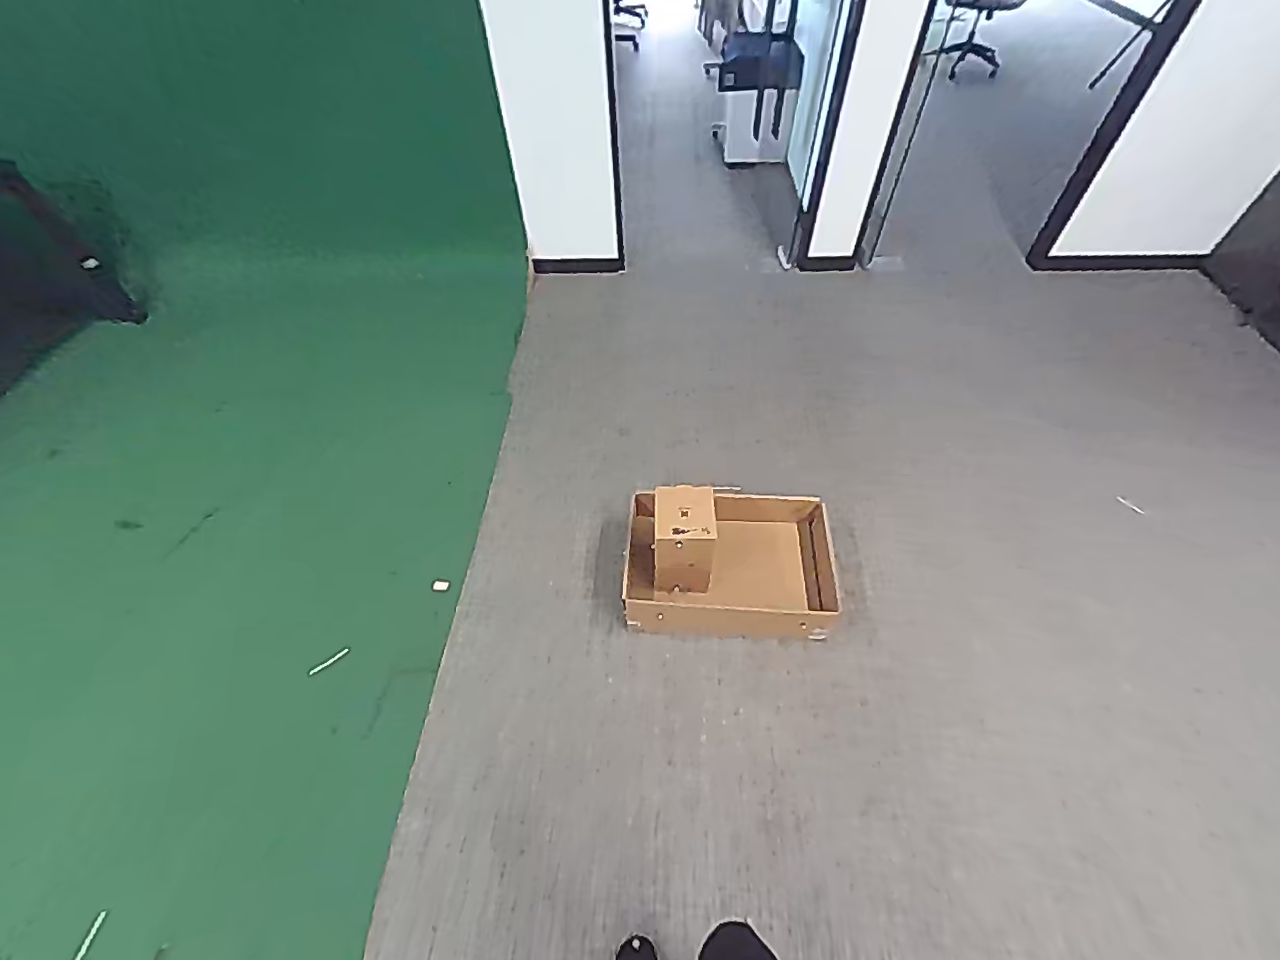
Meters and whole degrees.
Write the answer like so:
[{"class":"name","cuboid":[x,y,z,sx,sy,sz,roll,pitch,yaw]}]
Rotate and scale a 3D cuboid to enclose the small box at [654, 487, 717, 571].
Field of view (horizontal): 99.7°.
[{"class":"small box","cuboid":[0.125,0.140,1.532,0.168,0.176,0.179,0,52,2]}]
